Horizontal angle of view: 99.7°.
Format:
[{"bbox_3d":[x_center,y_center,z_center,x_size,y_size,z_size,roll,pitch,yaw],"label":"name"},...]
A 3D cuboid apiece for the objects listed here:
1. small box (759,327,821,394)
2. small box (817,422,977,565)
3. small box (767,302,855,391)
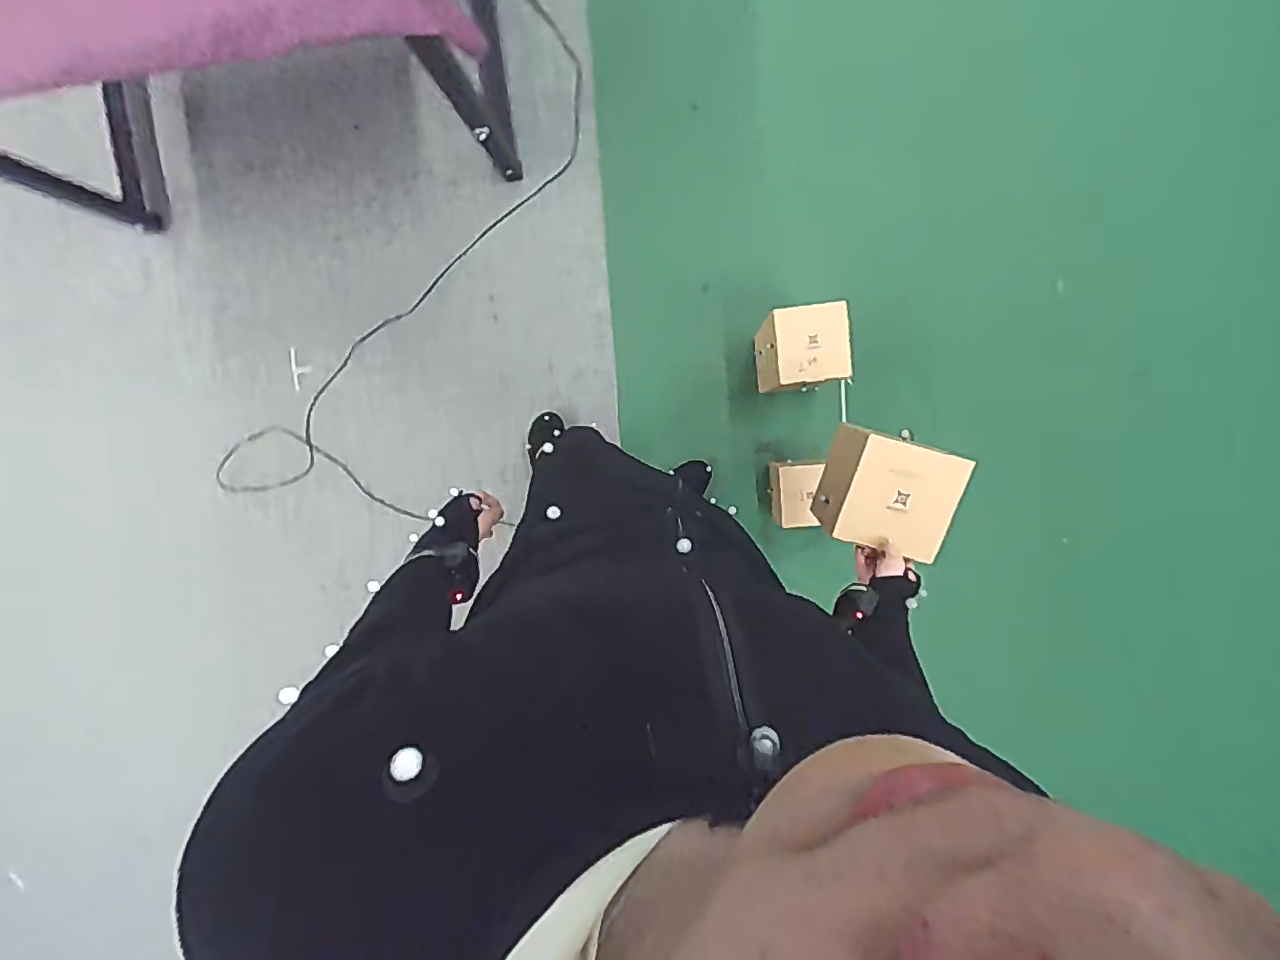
[{"bbox_3d":[0.423,-0.328,1.472,0.179,0.176,0.168,-5,94,4],"label":"small box"},{"bbox_3d":[0.409,0.013,0.899,0.168,0.176,0.179,16,103,2],"label":"small box"},{"bbox_3d":[0.406,-0.316,1.309,0.168,0.176,0.179,-5,95,5],"label":"small box"}]
